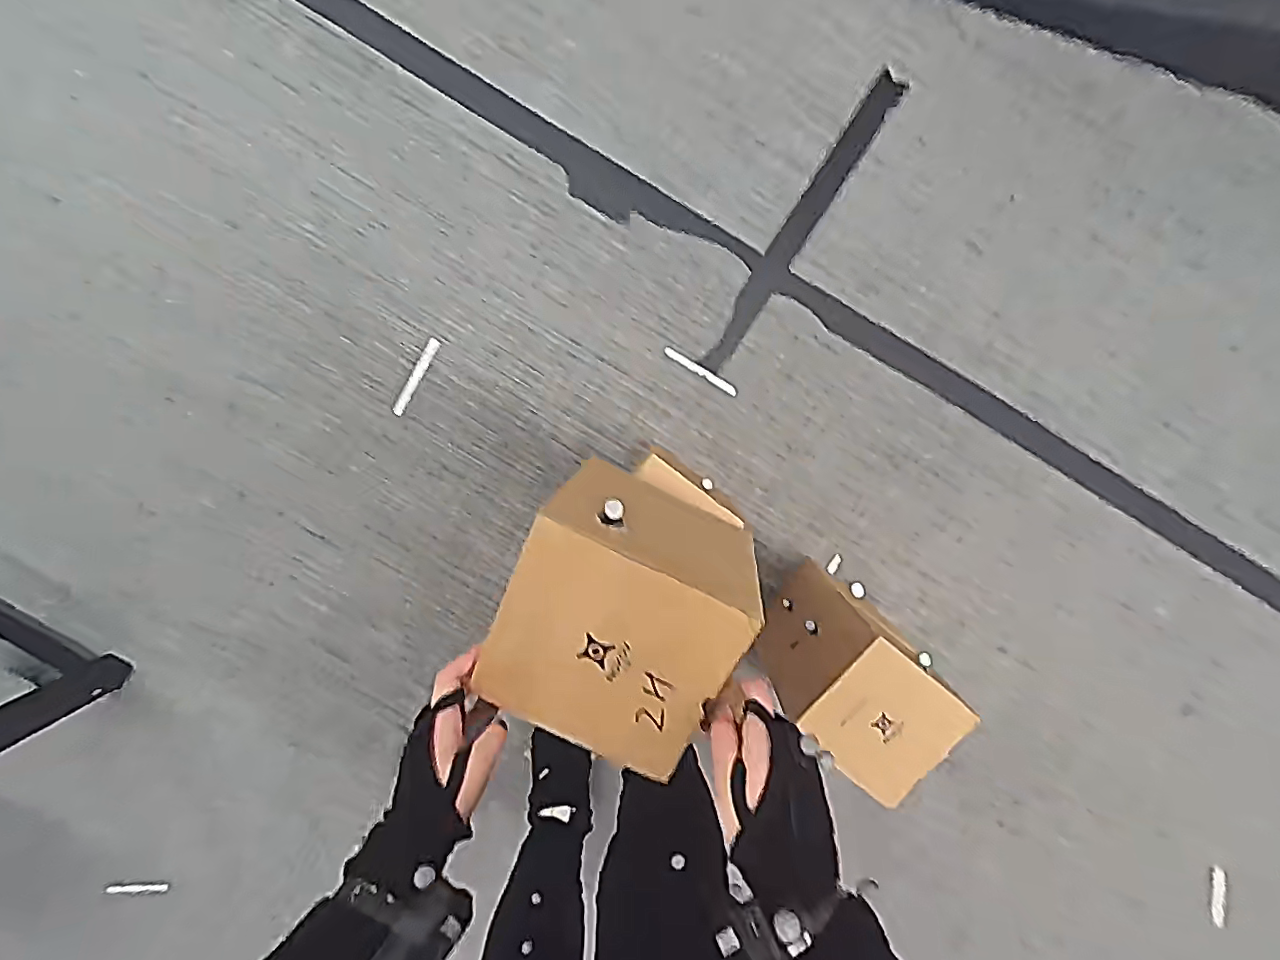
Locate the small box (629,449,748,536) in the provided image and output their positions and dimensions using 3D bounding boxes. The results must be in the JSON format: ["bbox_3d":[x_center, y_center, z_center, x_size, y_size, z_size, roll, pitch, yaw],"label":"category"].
[{"bbox_3d":[0.046,0.065,0.876,0.179,0.176,0.168,38,99,-5],"label":"small box"}]

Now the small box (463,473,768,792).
[{"bbox_3d":[-0.013,0.109,0.461,0.179,0.176,0.168,26,108,0],"label":"small box"}]

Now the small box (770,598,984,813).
[{"bbox_3d":[0.307,0.293,0.740,0.179,0.176,0.168,40,98,-4],"label":"small box"}]

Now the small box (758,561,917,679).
[{"bbox_3d":[0.308,0.267,0.901,0.168,0.176,0.179,39,98,-5],"label":"small box"}]
